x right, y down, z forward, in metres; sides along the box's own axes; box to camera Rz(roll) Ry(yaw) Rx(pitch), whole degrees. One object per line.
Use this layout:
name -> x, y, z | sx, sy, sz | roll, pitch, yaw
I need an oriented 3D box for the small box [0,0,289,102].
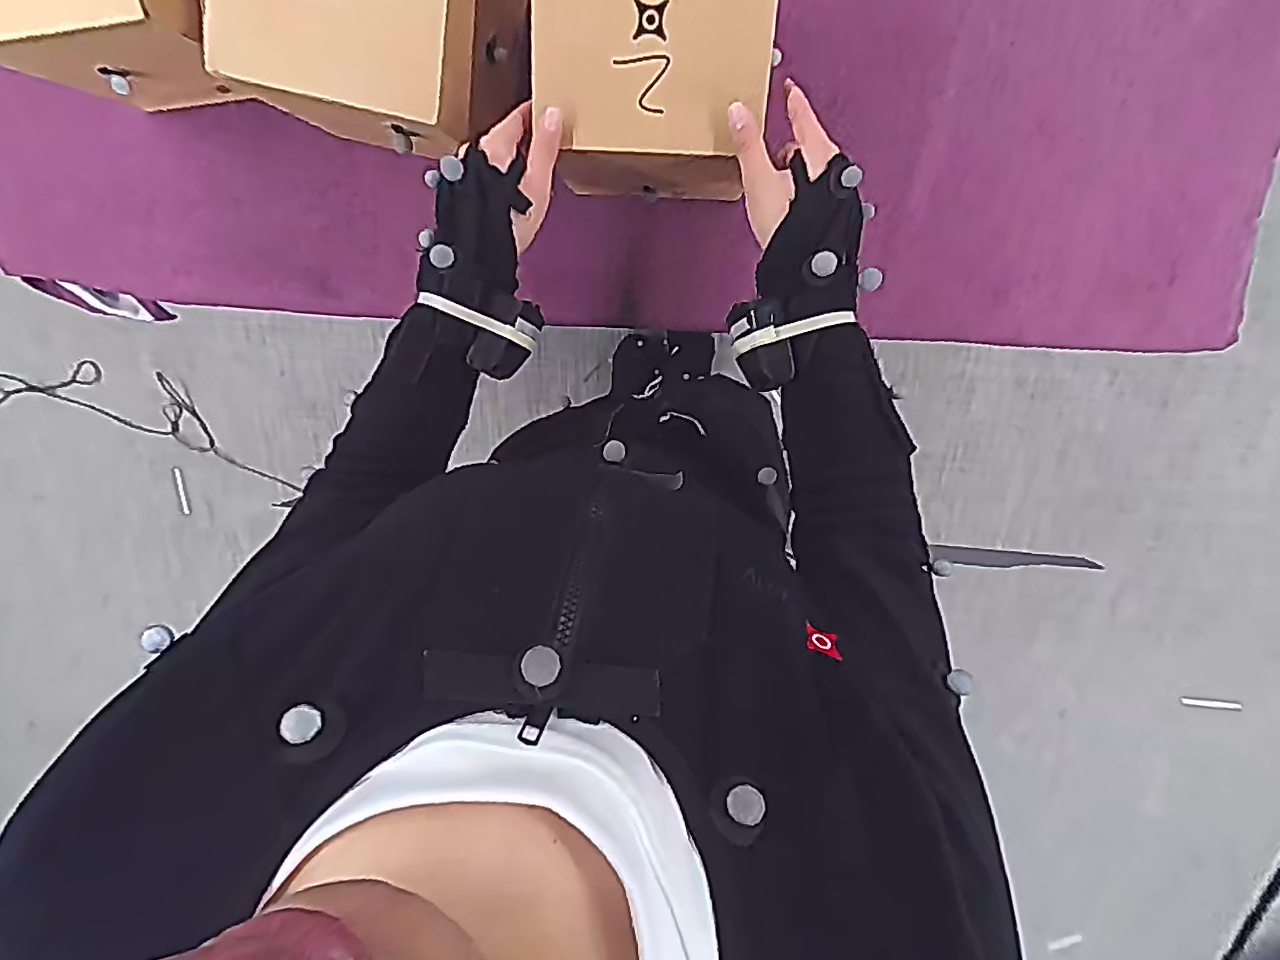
small box -> -0.431, -0.434, 0.439 | 0.168, 0.176, 0.179 | -4, 109, 6
